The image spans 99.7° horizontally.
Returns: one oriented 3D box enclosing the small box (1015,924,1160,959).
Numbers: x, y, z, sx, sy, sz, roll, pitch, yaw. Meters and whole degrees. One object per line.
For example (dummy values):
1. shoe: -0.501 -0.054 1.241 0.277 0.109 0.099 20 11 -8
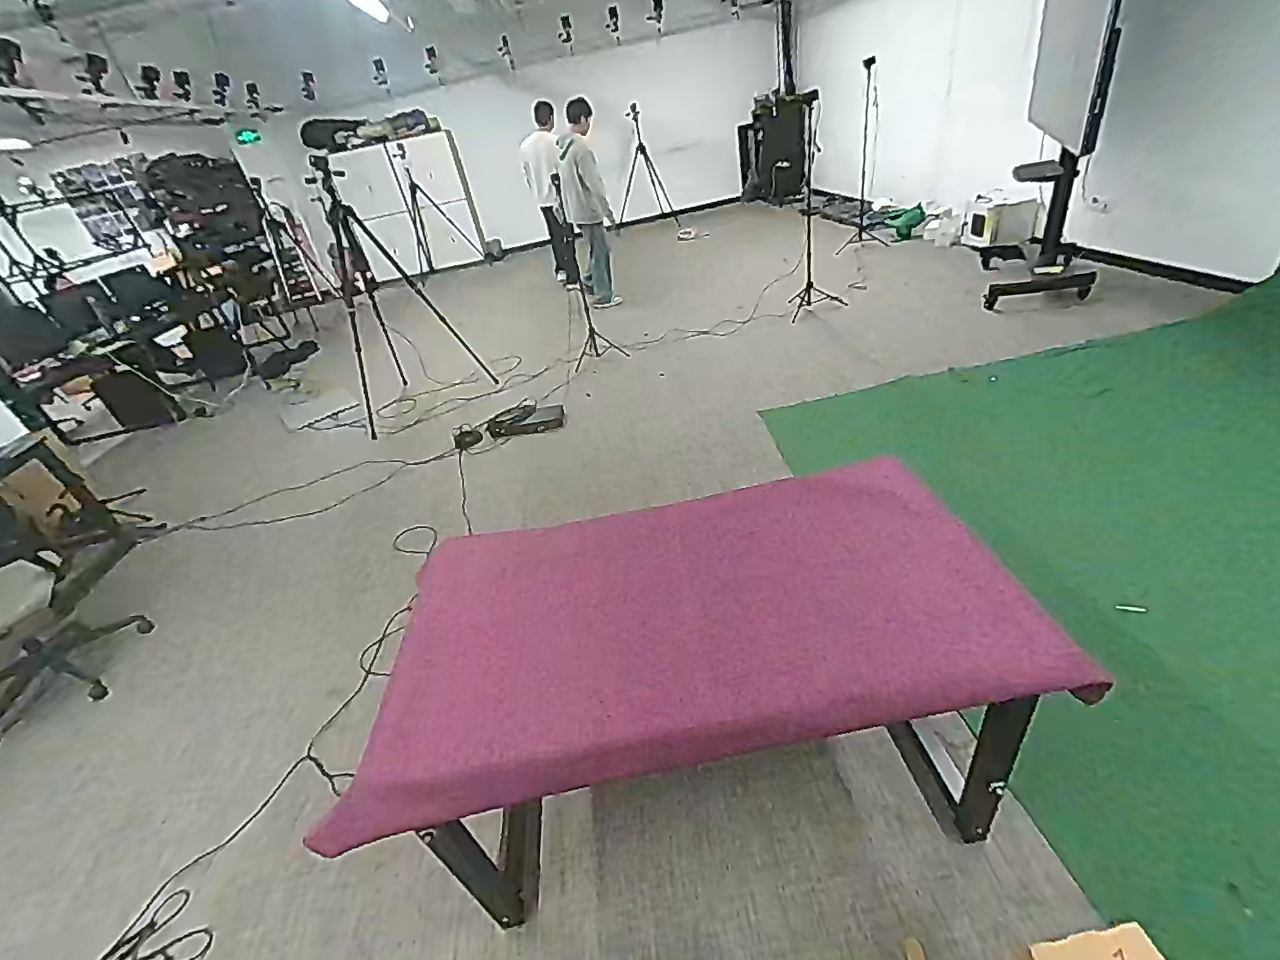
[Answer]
1. small box: 0.652 0.764 0.750 0.168 0.176 0.179 -12 35 -1
